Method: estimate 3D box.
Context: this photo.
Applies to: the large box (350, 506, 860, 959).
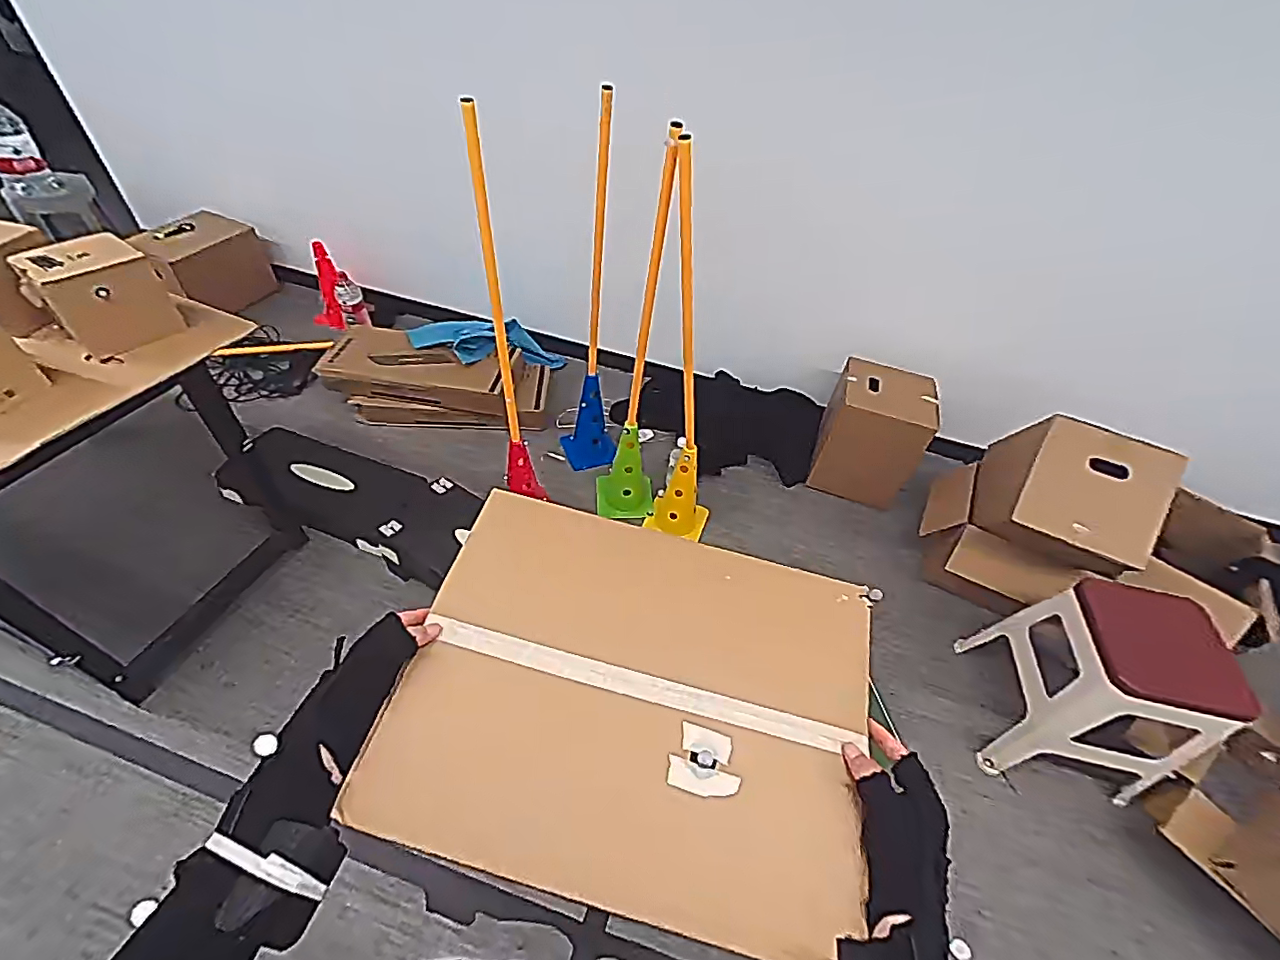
[{"bbox_3d":[-0.016,0.278,0.609,0.408,0.320,0.320,15,55,3],"label":"large box"}]
